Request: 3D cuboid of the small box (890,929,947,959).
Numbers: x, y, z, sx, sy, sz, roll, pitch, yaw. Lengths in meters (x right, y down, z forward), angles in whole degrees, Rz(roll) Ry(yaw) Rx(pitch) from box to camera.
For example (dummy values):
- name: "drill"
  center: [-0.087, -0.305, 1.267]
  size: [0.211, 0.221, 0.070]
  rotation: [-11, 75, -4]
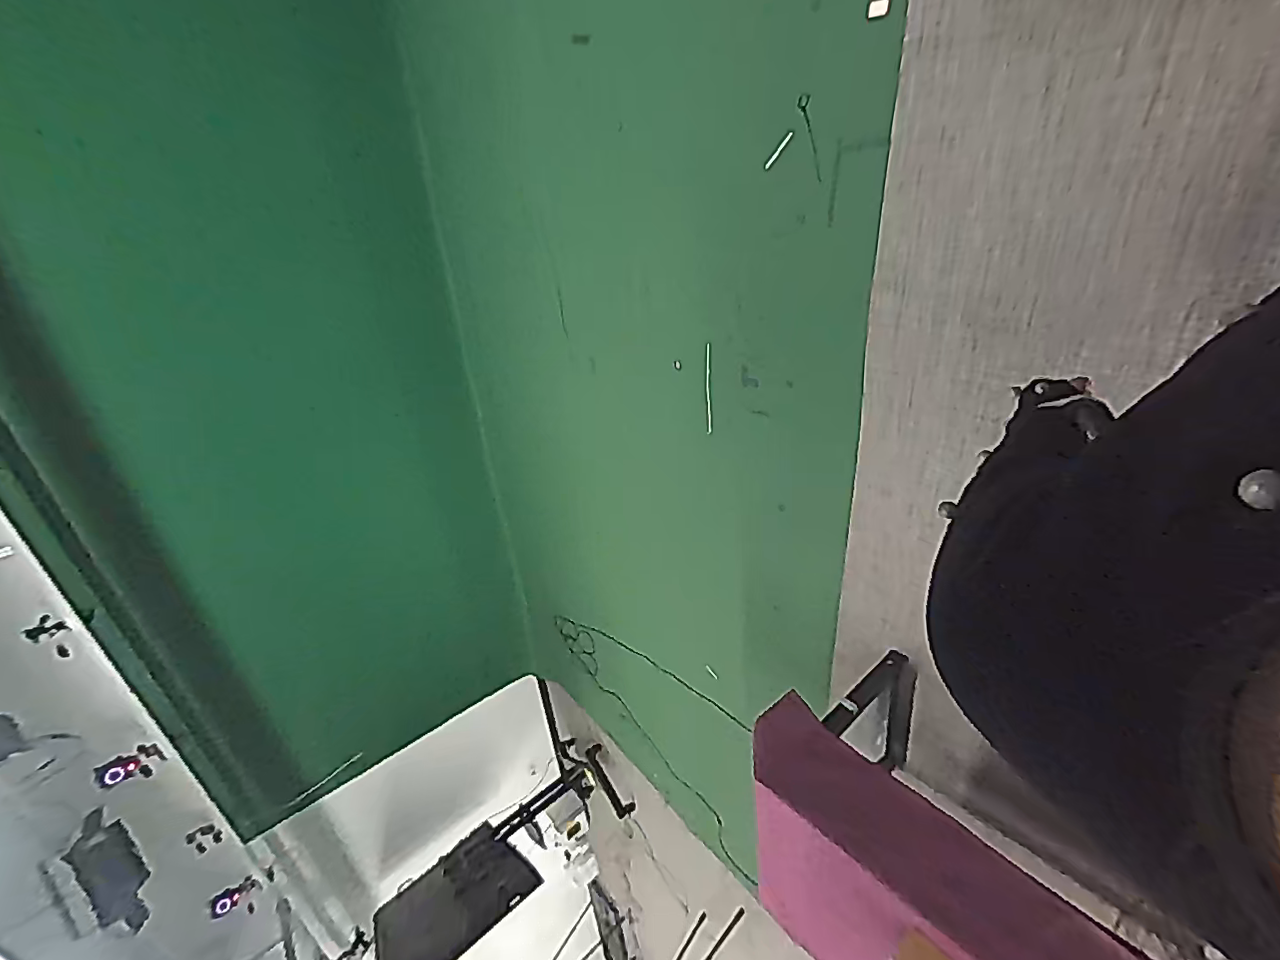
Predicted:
- name: "small box"
  center: [0.602, 1.114, 1.134]
  size: [0.179, 0.176, 0.168]
  rotation: [24, 129, 45]
